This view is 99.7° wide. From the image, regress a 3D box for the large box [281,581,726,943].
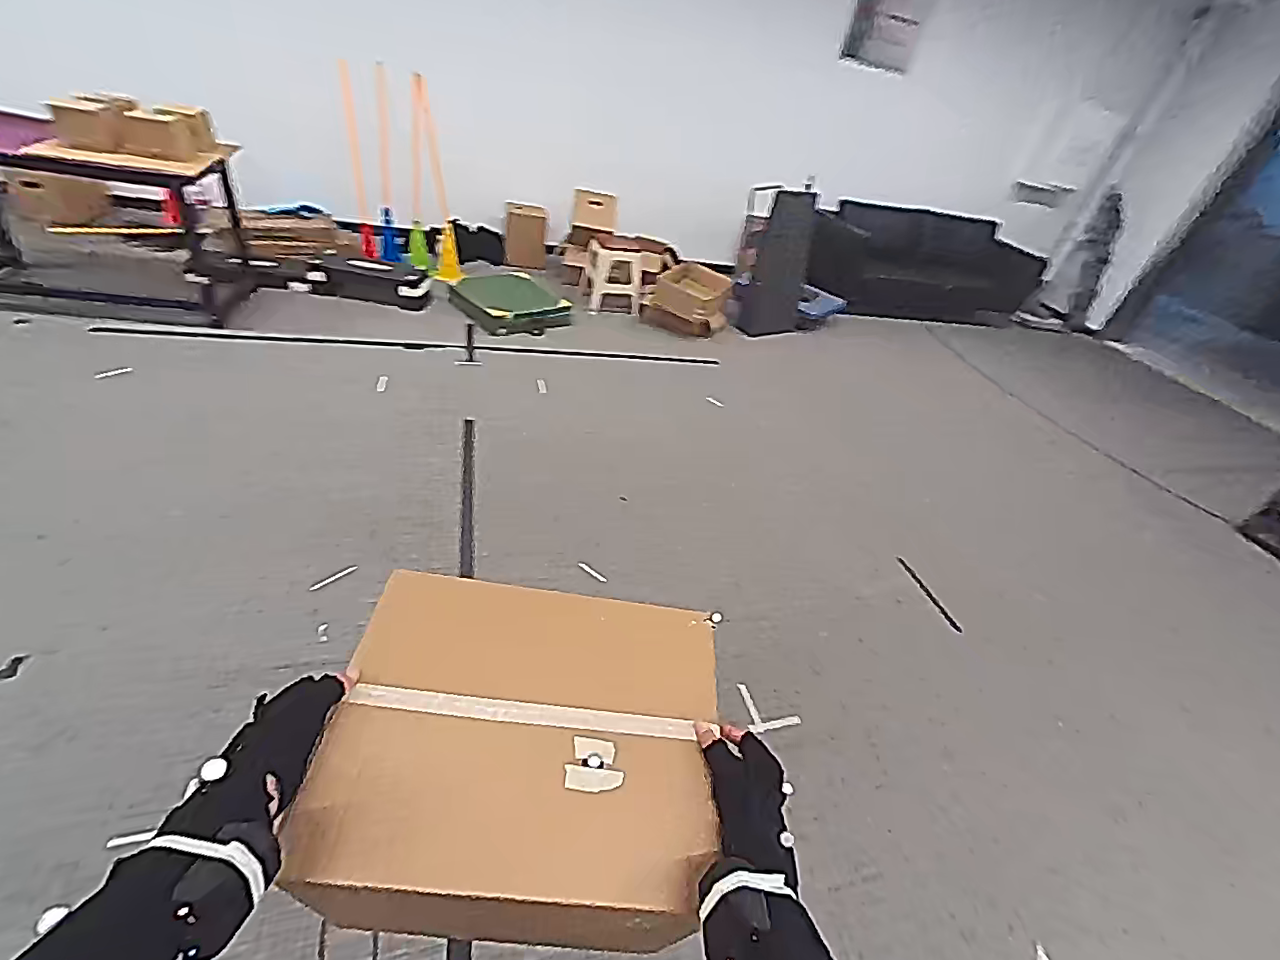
[{"bbox_3d":[-0.141,0.364,0.689,0.408,0.320,0.320,9,43,-7],"label":"large box"}]
